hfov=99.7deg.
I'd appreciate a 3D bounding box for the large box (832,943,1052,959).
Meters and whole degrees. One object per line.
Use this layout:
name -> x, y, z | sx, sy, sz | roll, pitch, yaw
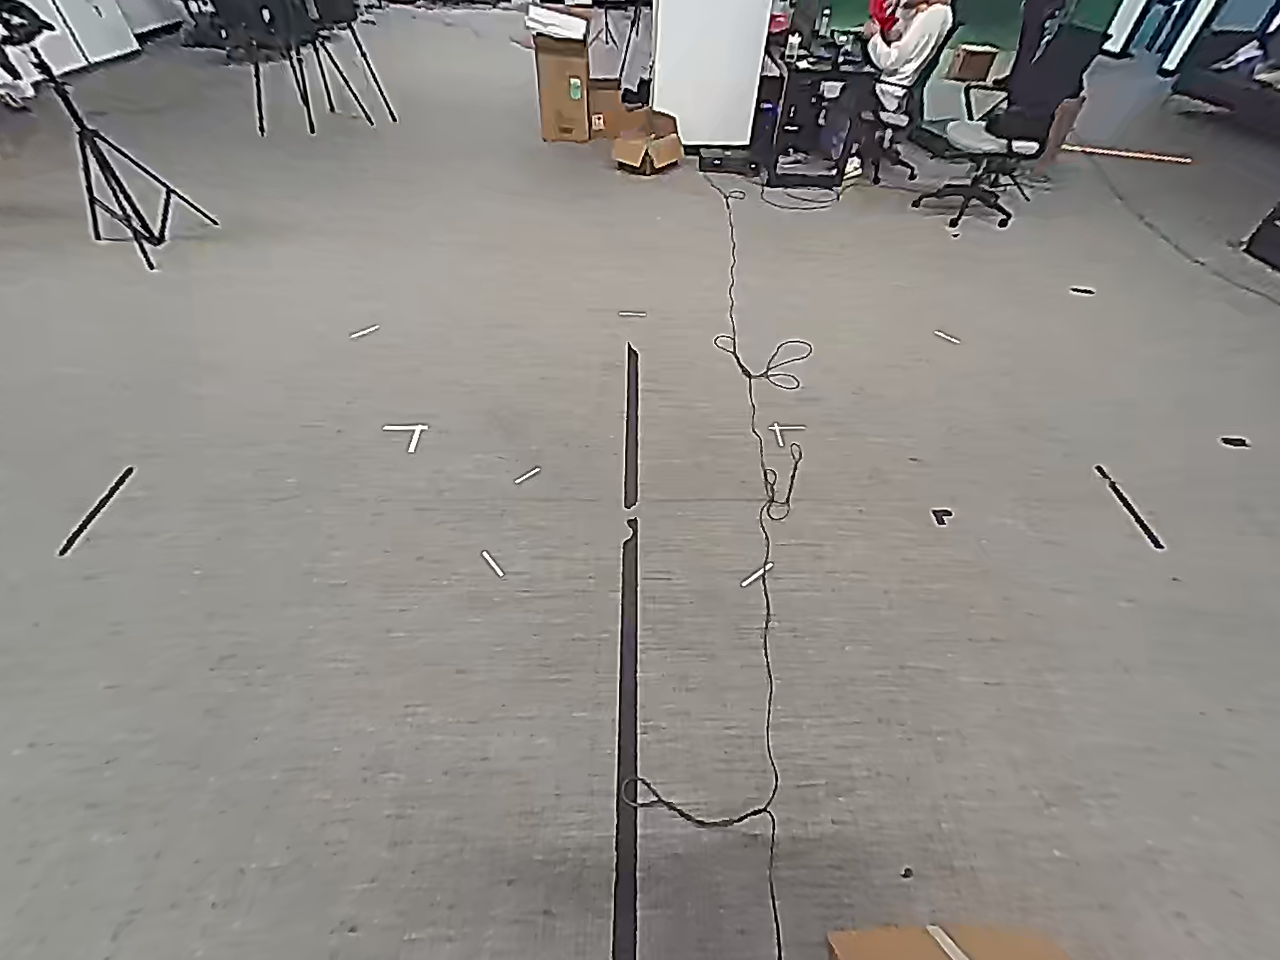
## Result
large box -> 0.432, 0.785, 0.562 | 0.320, 0.408, 0.320 | -1, 78, -1
